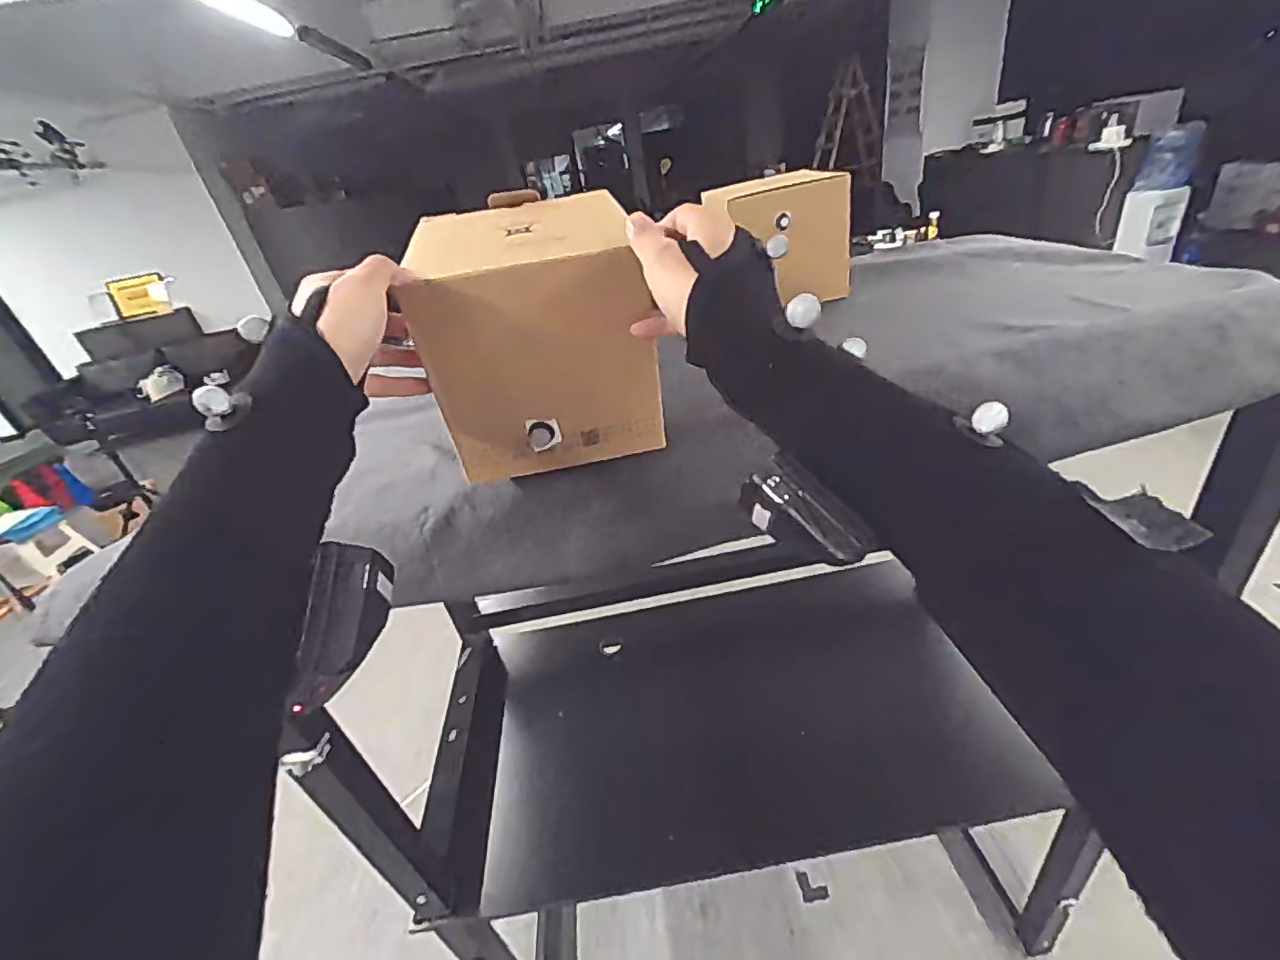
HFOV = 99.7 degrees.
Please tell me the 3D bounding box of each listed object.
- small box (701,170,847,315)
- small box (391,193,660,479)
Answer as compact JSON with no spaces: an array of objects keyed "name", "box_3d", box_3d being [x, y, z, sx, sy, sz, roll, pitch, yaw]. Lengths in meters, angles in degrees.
[{"name":"small box","box_3d":[0.204,-0.366,0.834,0.179,0.176,0.168,-12,31,0]},{"name":"small box","box_3d":[-0.084,-0.126,0.458,0.168,0.176,0.179,-12,39,-5]}]
